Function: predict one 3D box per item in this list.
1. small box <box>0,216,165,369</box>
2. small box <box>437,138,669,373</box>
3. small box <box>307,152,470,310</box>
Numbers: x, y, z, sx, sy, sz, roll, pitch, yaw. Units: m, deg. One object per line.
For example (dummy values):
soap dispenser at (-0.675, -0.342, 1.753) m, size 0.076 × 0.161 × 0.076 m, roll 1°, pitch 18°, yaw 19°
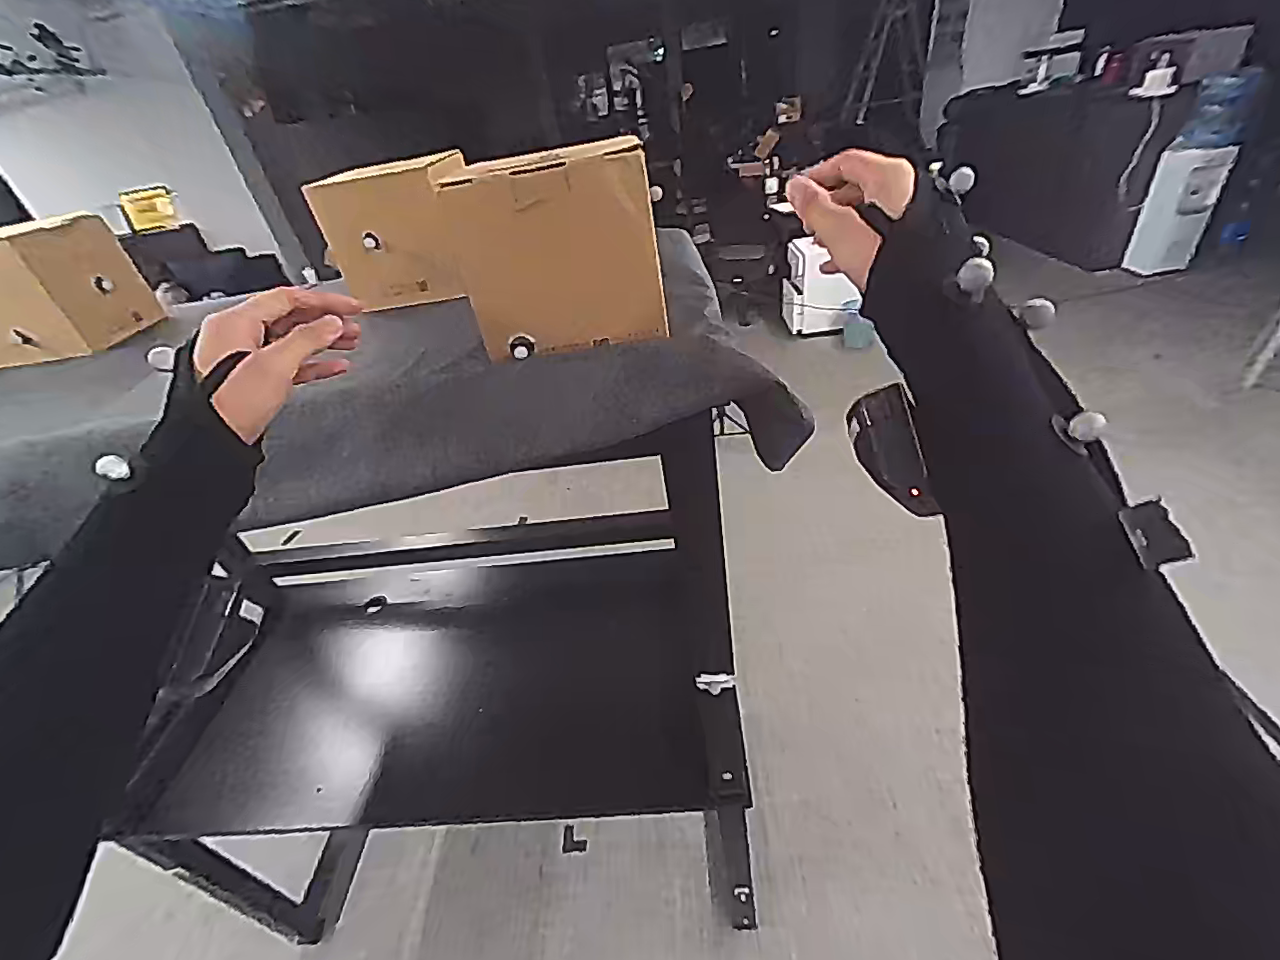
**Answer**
small box at (-0.901, -0.286, 0.826) m, size 0.179 × 0.176 × 0.168 m, roll -7°, pitch 36°, yaw 3°
small box at (-0.067, -0.212, 0.521) m, size 0.168 × 0.176 × 0.179 m, roll -8°, pitch 35°, yaw 3°
small box at (-0.330, -0.358, 0.788) m, size 0.168 × 0.176 × 0.179 m, roll -7°, pitch 36°, yaw 5°
